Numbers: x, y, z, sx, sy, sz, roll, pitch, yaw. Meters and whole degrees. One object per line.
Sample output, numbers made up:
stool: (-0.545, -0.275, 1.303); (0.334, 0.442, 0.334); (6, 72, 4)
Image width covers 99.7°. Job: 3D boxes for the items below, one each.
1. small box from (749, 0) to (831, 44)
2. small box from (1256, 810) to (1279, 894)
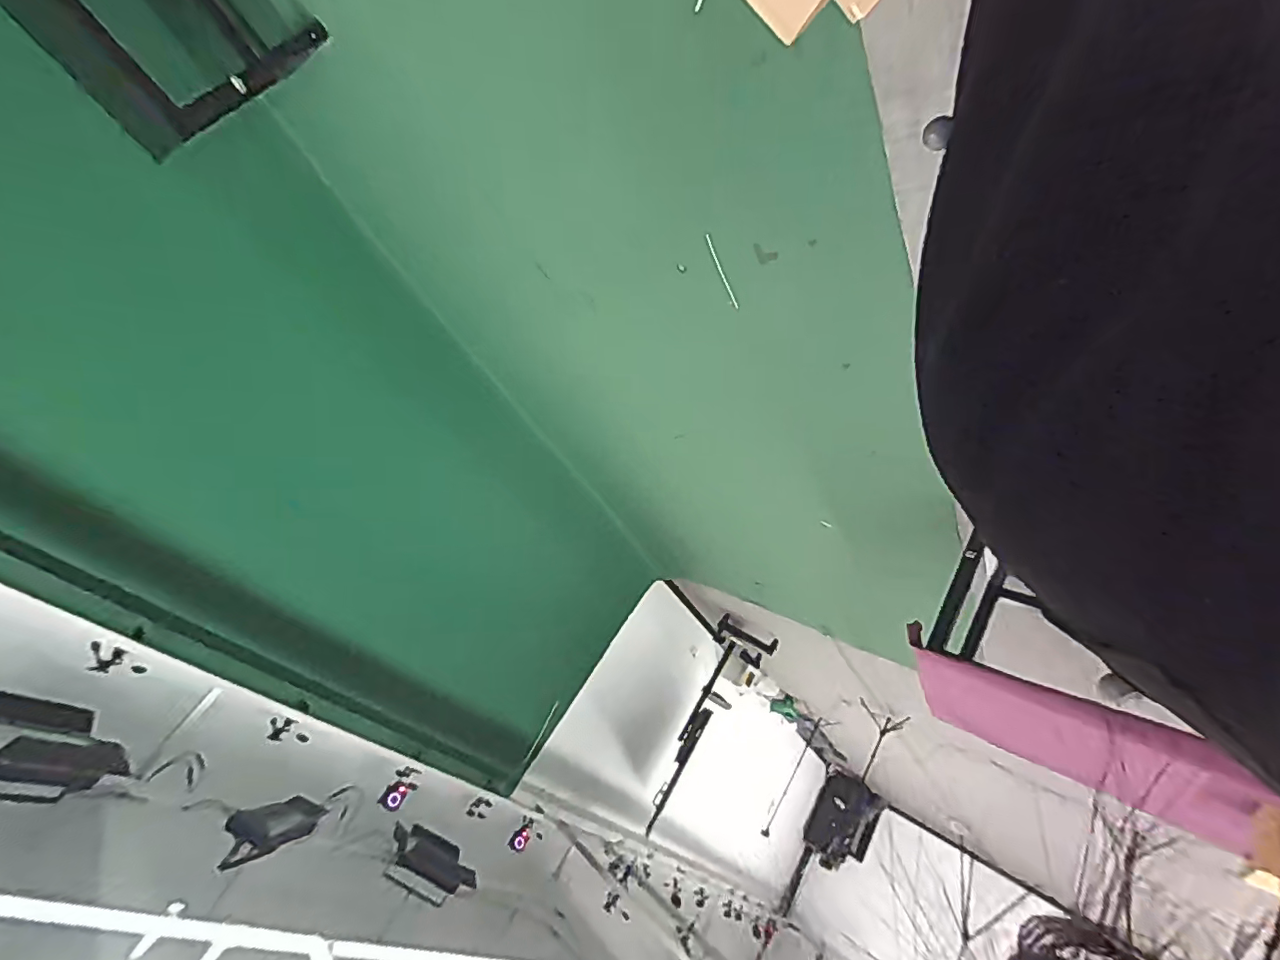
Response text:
small box: (0.214, -0.714, 0.667); (0.179, 0.176, 0.168); (39, 161, -13)
small box: (1.613, 0.917, 1.279); (0.168, 0.176, 0.179); (15, 152, 45)
